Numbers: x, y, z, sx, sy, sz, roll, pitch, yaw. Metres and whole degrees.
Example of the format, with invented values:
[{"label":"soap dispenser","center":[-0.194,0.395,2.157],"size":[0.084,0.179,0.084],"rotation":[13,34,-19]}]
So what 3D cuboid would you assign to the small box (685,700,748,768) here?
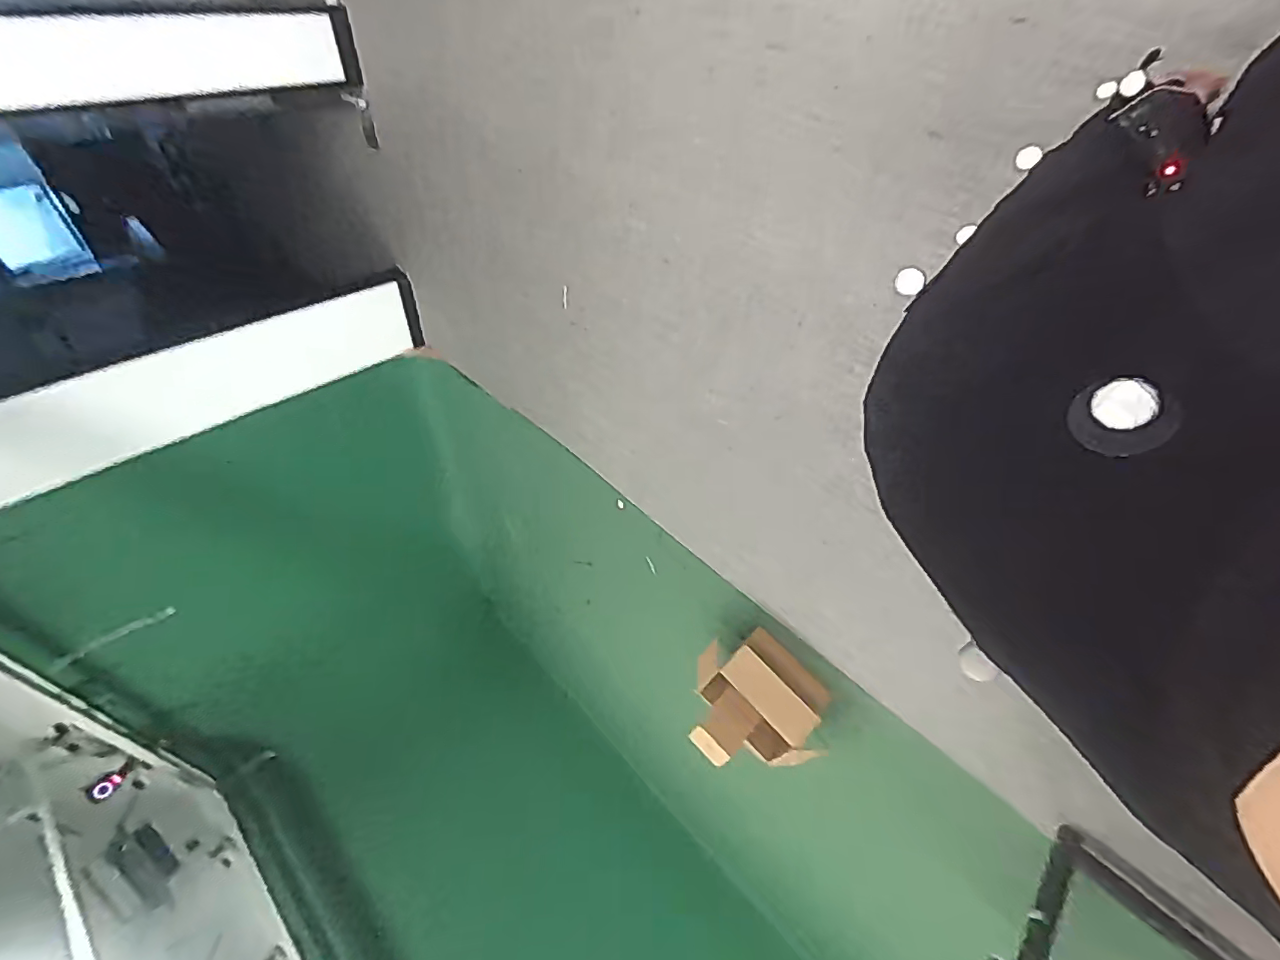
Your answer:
[{"label":"small box","center":[0.316,1.029,2.197],"size":[0.168,0.176,0.179],"rotation":[43,145,21]}]
